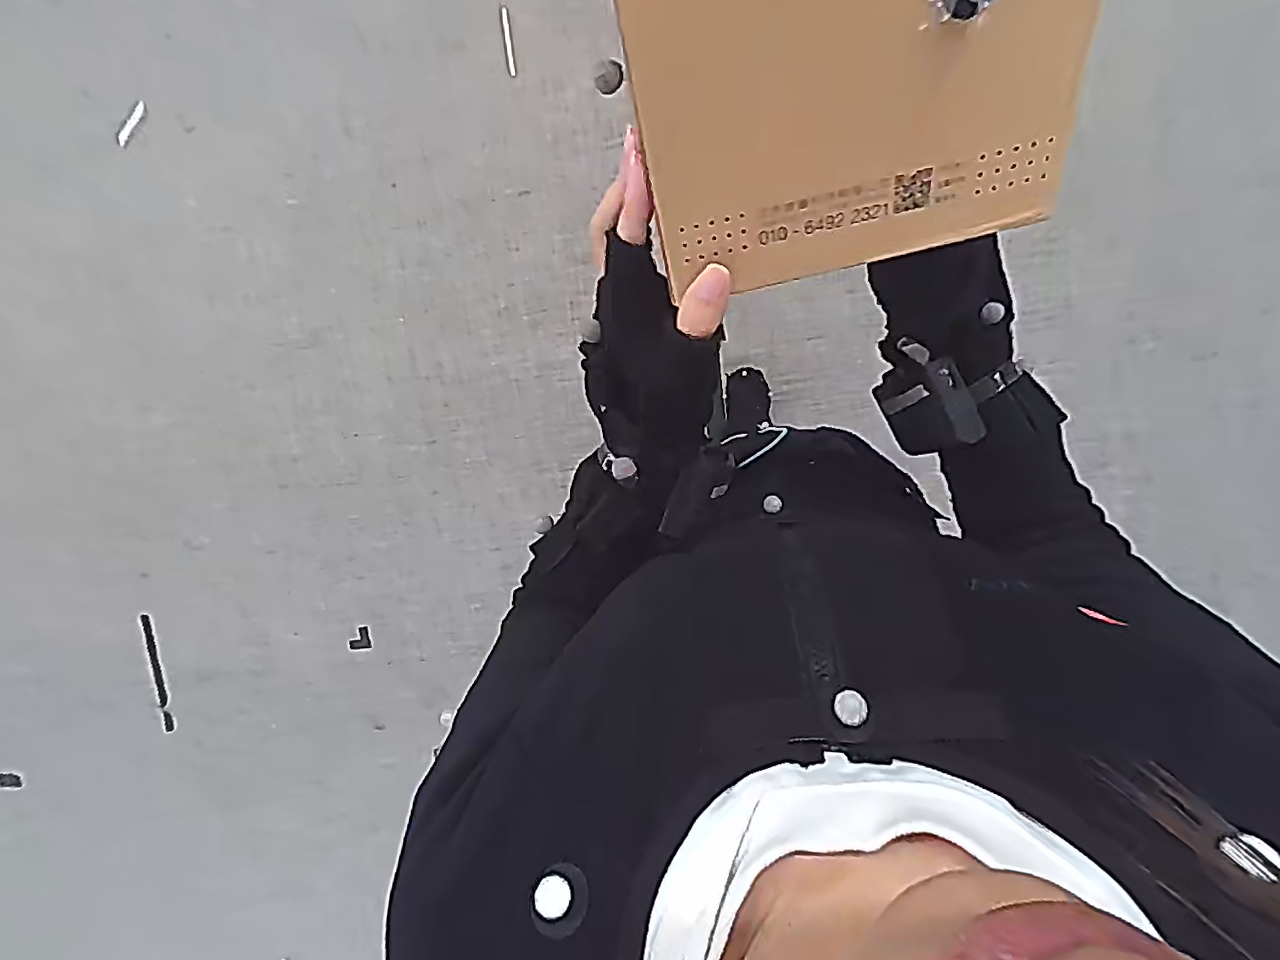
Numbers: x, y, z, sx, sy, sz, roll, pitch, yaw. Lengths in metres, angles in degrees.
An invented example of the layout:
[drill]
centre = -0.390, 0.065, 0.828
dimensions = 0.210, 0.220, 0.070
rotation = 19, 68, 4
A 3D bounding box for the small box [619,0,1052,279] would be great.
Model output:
[small box]
centre = 0.080, -0.218, 0.275
dimensions = 0.168, 0.179, 0.176
rotation = -11, 127, 6
